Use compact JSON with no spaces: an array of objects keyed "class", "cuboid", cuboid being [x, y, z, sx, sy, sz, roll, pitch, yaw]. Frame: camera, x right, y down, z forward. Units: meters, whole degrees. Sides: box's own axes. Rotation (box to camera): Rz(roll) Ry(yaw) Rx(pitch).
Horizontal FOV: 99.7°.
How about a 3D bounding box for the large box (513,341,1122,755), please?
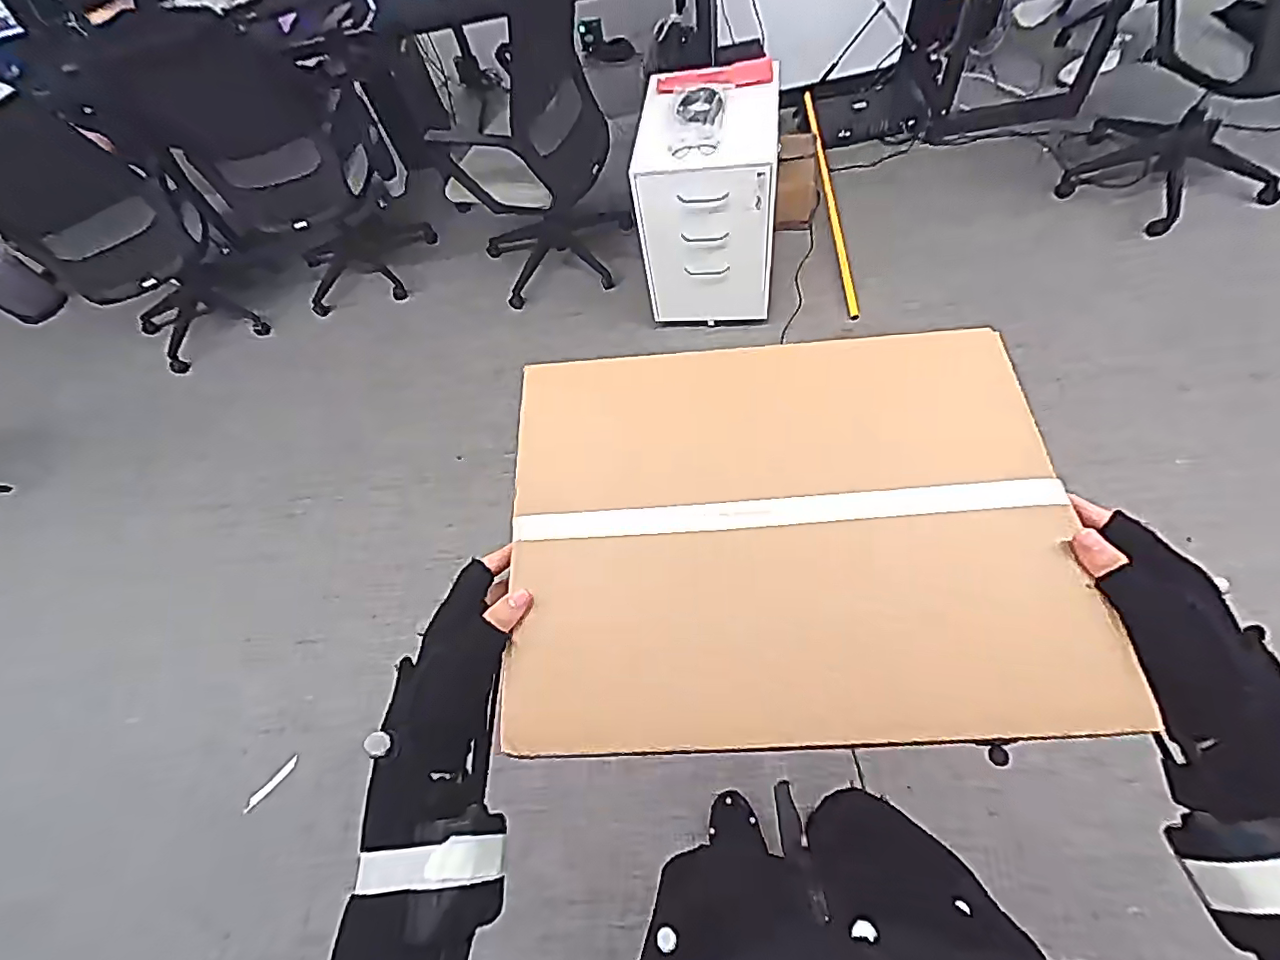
[{"class":"large box","cuboid":[0.118,0.093,0.549,0.408,0.320,0.320,-4,63,3]}]
